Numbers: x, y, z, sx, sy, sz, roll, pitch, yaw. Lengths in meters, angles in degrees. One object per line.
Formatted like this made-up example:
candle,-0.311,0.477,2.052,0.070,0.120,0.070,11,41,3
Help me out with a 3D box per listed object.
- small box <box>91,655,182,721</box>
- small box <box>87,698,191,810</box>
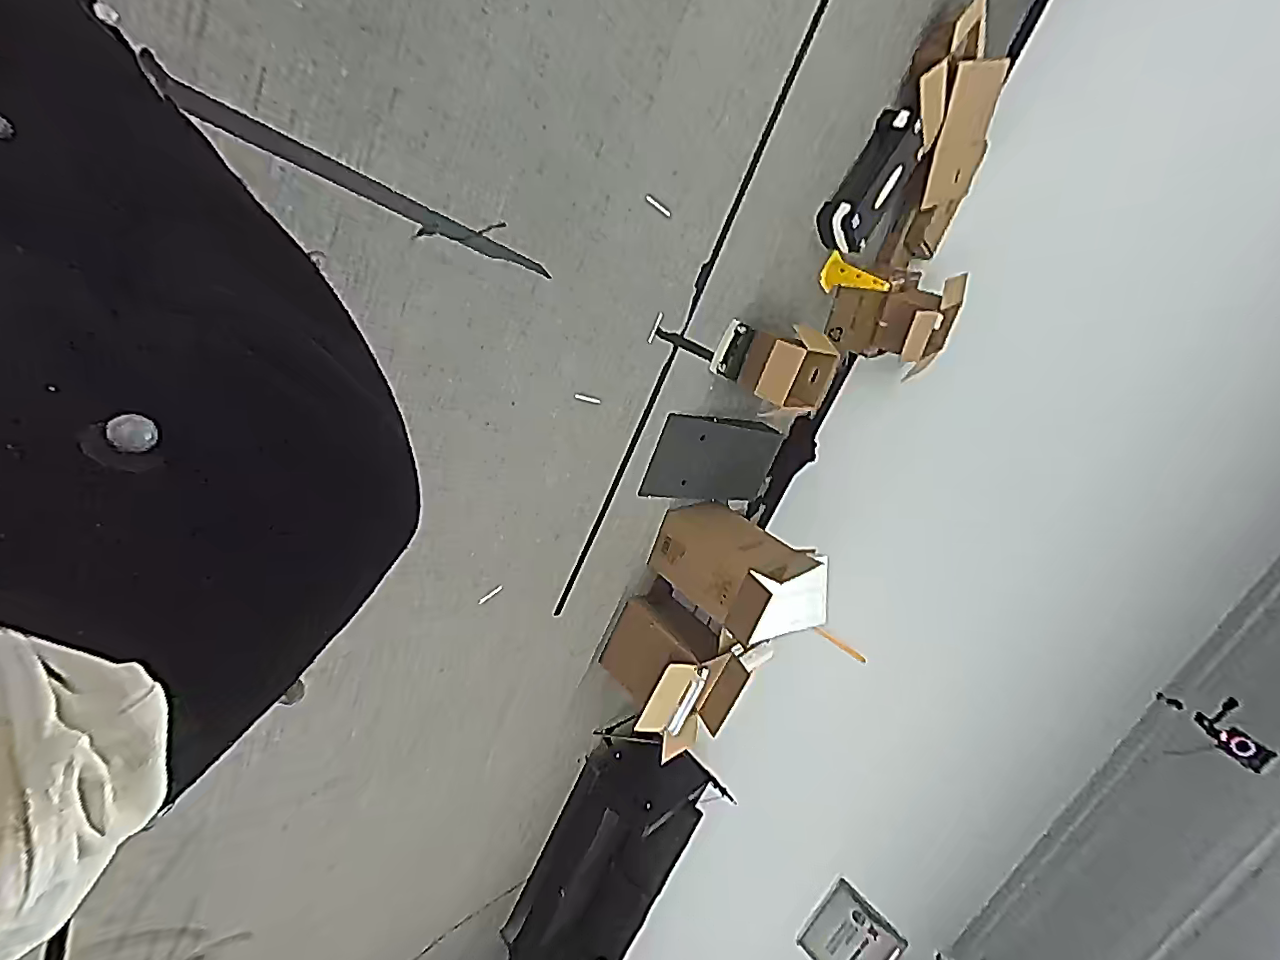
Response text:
small box,-1.428,0.631,1.530,0.168,0.176,0.179,-1,119,-51
small box,-1.325,0.712,1.430,0.179,0.176,0.168,-3,121,-51
